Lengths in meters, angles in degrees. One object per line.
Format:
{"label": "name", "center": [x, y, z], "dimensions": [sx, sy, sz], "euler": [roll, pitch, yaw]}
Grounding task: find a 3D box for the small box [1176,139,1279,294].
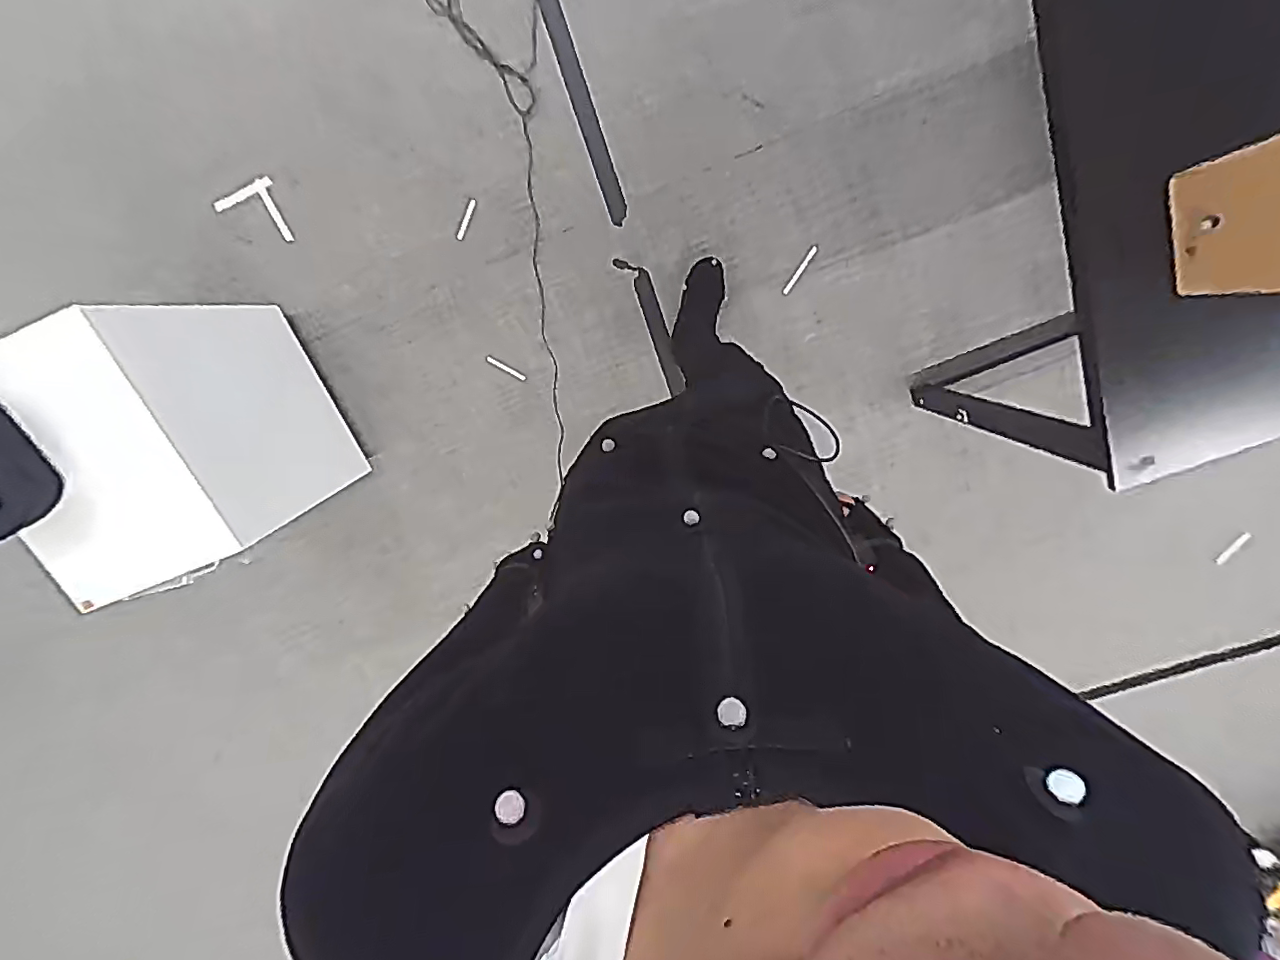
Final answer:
{"label": "small box", "center": [0.846, -0.347, 0.682], "dimensions": [0.179, 0.176, 0.168], "euler": [-20, 107, 7]}
